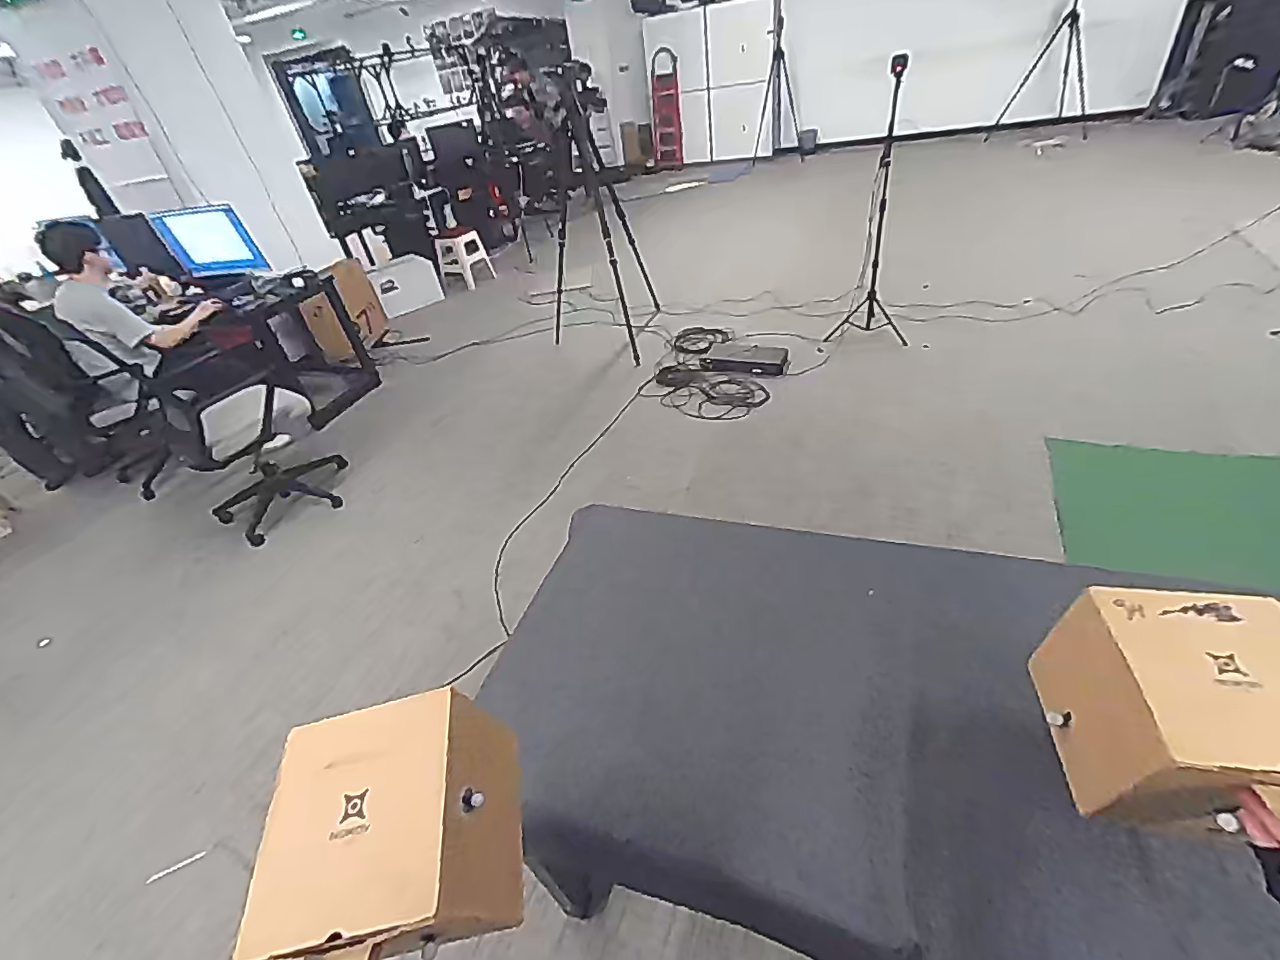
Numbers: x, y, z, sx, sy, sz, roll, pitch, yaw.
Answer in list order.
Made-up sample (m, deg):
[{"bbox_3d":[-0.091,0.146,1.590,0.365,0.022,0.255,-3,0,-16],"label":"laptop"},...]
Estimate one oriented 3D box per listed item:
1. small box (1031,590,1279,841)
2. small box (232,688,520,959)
[{"bbox_3d":[0.533,0.233,0.536,0.168,0.176,0.179,3,46,10],"label":"small box"},{"bbox_3d":[-0.219,0.326,0.508,0.168,0.176,0.179,-15,48,2],"label":"small box"}]
